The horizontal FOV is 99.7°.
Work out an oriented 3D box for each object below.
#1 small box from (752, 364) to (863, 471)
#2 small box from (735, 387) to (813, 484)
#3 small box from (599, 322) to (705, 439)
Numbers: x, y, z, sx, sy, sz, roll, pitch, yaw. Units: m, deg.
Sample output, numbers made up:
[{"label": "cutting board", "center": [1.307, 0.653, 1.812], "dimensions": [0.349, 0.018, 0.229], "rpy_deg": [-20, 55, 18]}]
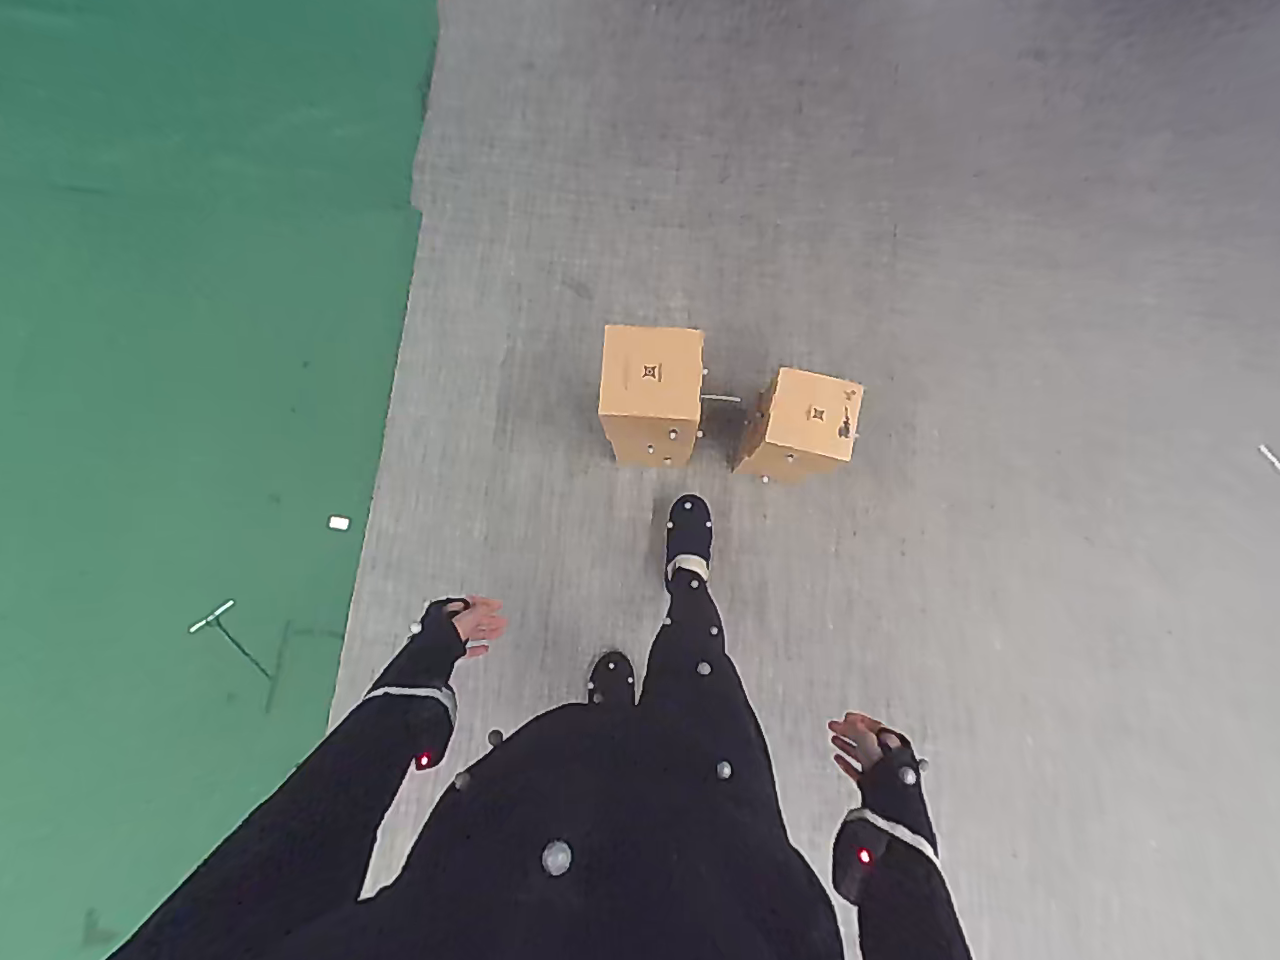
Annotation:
[{"label": "small box", "center": [0.351, -0.126, 1.164], "dimensions": [0.179, 0.176, 0.168], "rpy_deg": [14, 81, 5]}, {"label": "small box", "center": [0.339, -0.103, 1.327], "dimensions": [0.168, 0.176, 0.179], "rpy_deg": [14, 81, 4]}, {"label": "small box", "center": [0.024, -0.177, 1.013], "dimensions": [0.179, 0.176, 0.168], "rpy_deg": [4, 80, 3]}]
